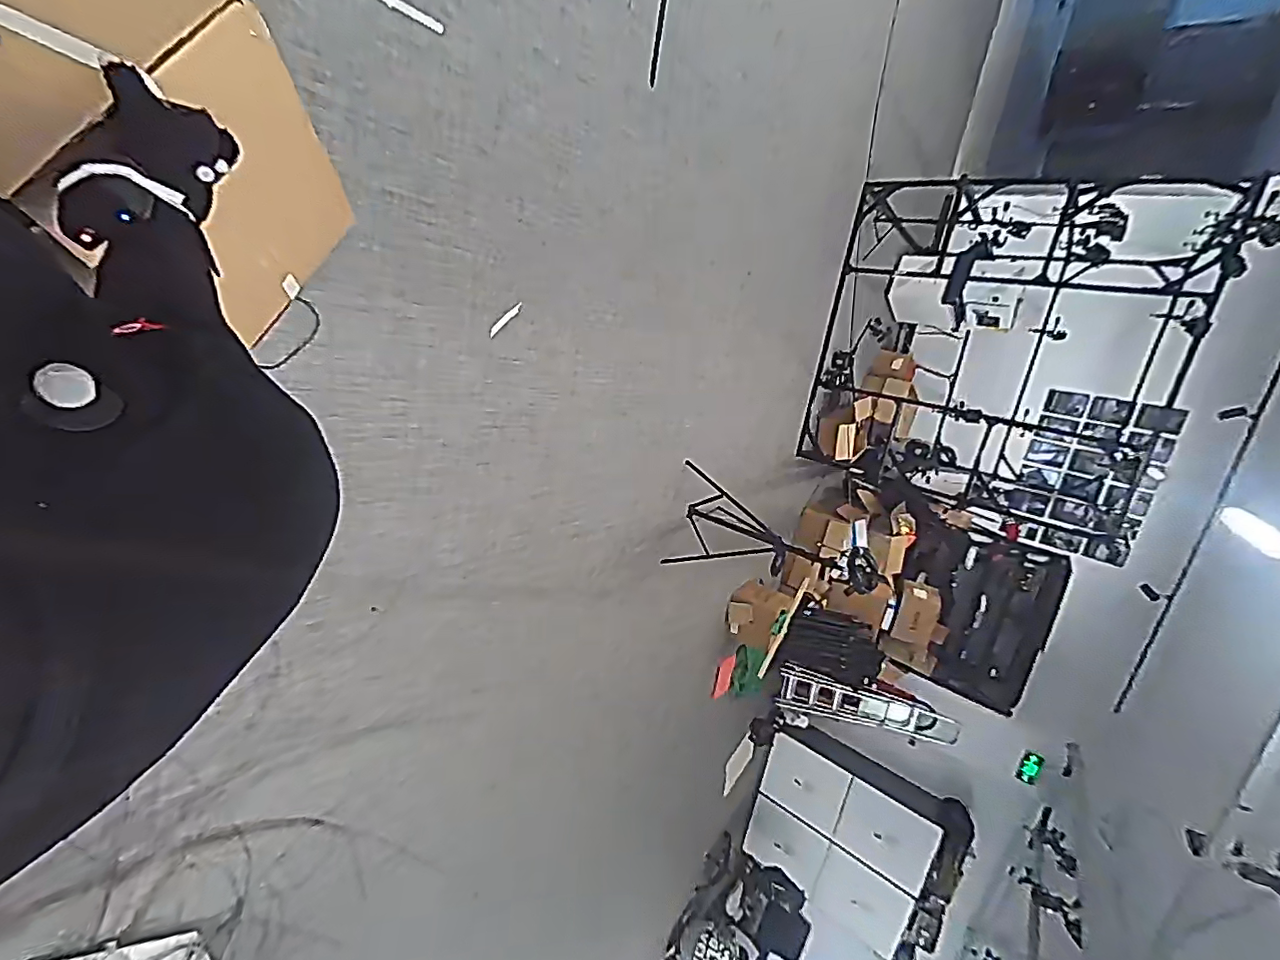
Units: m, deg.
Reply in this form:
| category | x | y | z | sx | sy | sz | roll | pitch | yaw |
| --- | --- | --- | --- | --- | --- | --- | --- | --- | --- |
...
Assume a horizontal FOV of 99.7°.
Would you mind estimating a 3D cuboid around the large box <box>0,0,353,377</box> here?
| category | x | y | z | sx | sy | sz | roll | pitch | yaw |
| --- | --- | --- | --- | --- | --- | --- | --- | --- | --- |
| large box | -0.652 | -0.391 | 0.642 | 0.320 | 0.408 | 0.320 | -65 | -179 | -19 |
